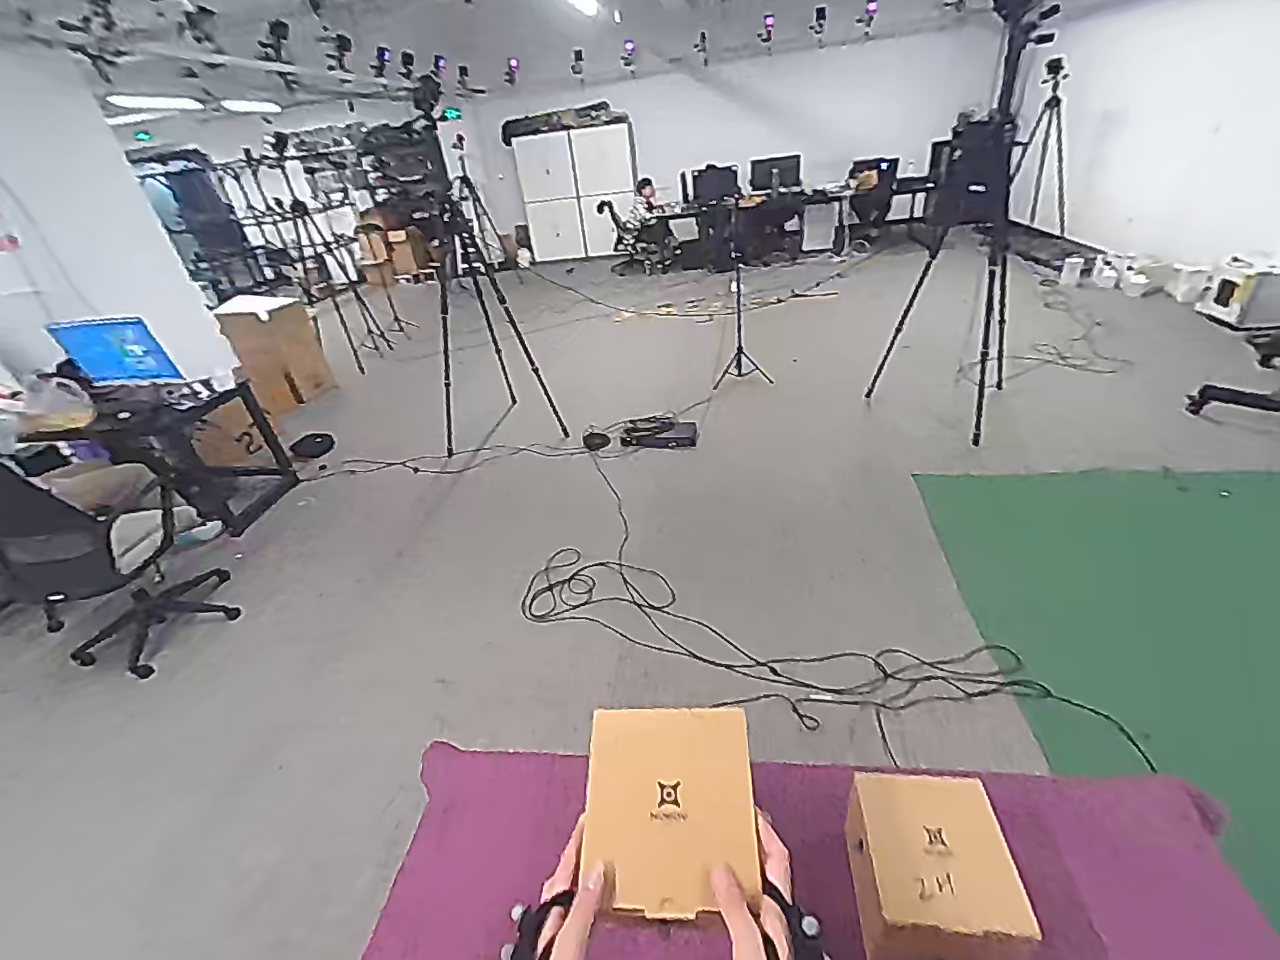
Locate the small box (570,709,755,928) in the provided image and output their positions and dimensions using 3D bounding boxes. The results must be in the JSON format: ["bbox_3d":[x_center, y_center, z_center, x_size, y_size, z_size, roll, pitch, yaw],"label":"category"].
[{"bbox_3d":[0.029,0.366,0.586,0.168,0.176,0.179,-4,49,6],"label":"small box"}]

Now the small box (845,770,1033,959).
[{"bbox_3d":[0.376,0.522,0.721,0.168,0.176,0.179,-3,34,11],"label":"small box"}]
